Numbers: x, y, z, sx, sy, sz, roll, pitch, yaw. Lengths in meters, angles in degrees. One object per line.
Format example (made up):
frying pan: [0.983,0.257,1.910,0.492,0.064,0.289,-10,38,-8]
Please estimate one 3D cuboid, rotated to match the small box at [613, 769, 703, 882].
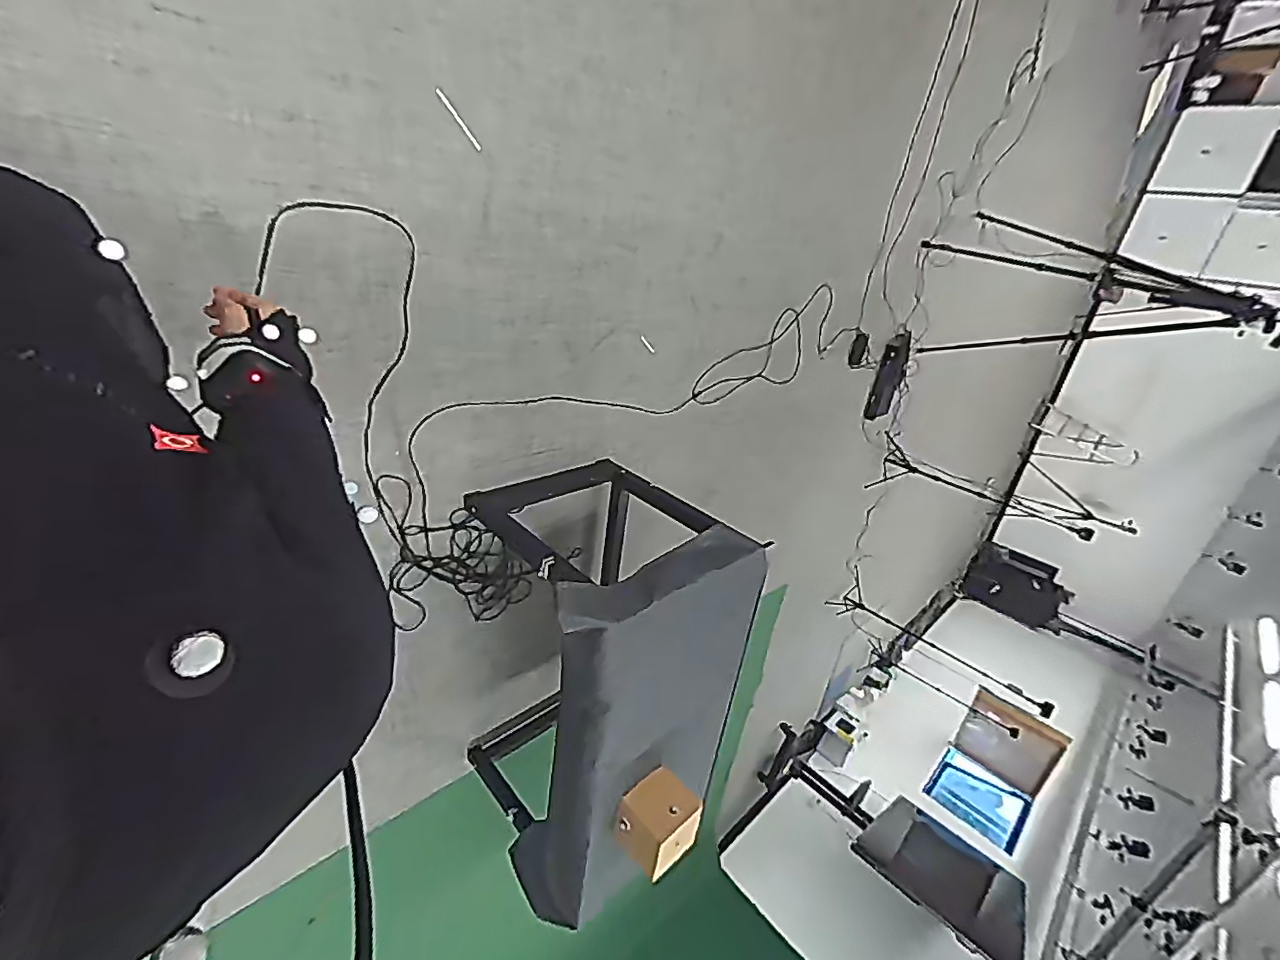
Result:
small box: [0.049,0.975,1.544,0.179,0.176,0.168,-15,122,-42]
